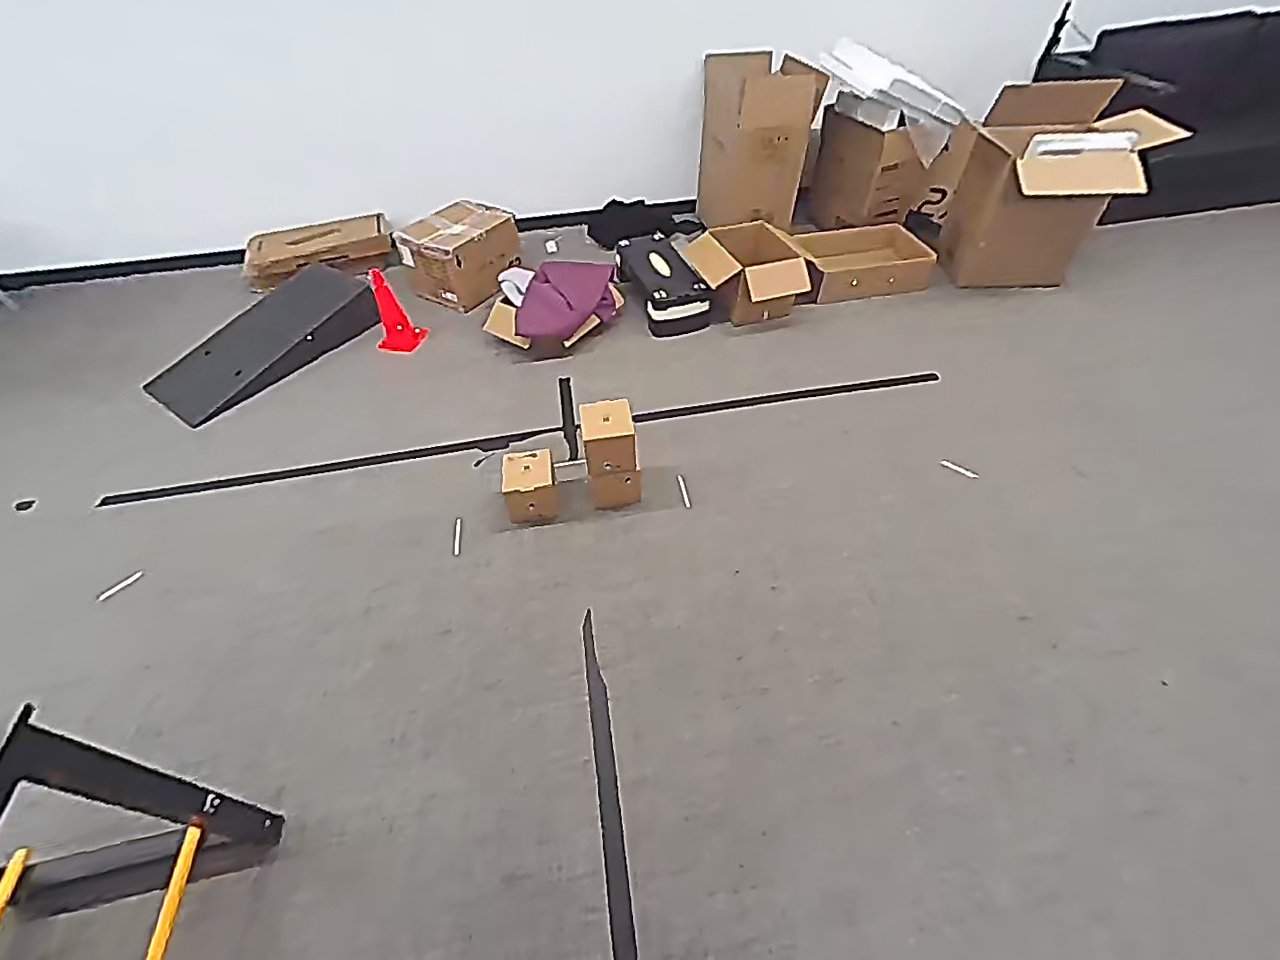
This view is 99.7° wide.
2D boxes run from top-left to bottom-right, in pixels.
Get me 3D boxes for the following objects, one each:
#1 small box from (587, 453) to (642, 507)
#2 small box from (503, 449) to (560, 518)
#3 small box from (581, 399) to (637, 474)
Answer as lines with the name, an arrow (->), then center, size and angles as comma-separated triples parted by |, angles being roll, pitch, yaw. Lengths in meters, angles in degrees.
small box -> -0.092, -0.027, 1.912 | 0.179, 0.176, 0.168 | -9, 49, -7
small box -> -0.375, 0.019, 1.882 | 0.168, 0.176, 0.179 | -8, 49, -4
small box -> -0.103, -0.143, 1.798 | 0.168, 0.176, 0.179 | -9, 50, -4
